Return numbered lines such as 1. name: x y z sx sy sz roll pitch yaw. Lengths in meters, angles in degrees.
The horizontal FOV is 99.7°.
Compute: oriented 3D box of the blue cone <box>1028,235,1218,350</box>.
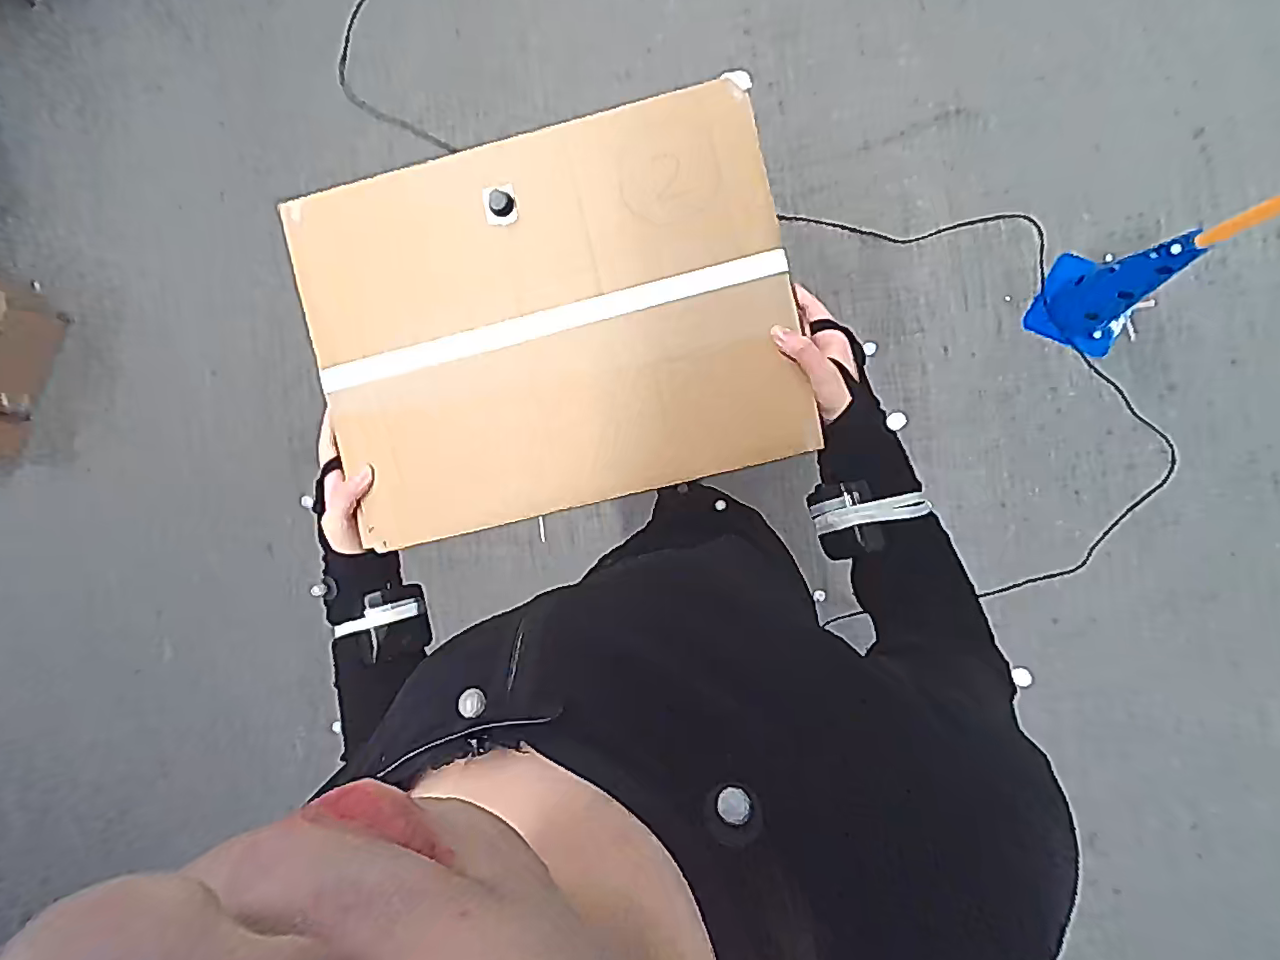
1. blue cone: 1.014 -0.417 1.113 0.193 0.380 0.192 26 95 10
